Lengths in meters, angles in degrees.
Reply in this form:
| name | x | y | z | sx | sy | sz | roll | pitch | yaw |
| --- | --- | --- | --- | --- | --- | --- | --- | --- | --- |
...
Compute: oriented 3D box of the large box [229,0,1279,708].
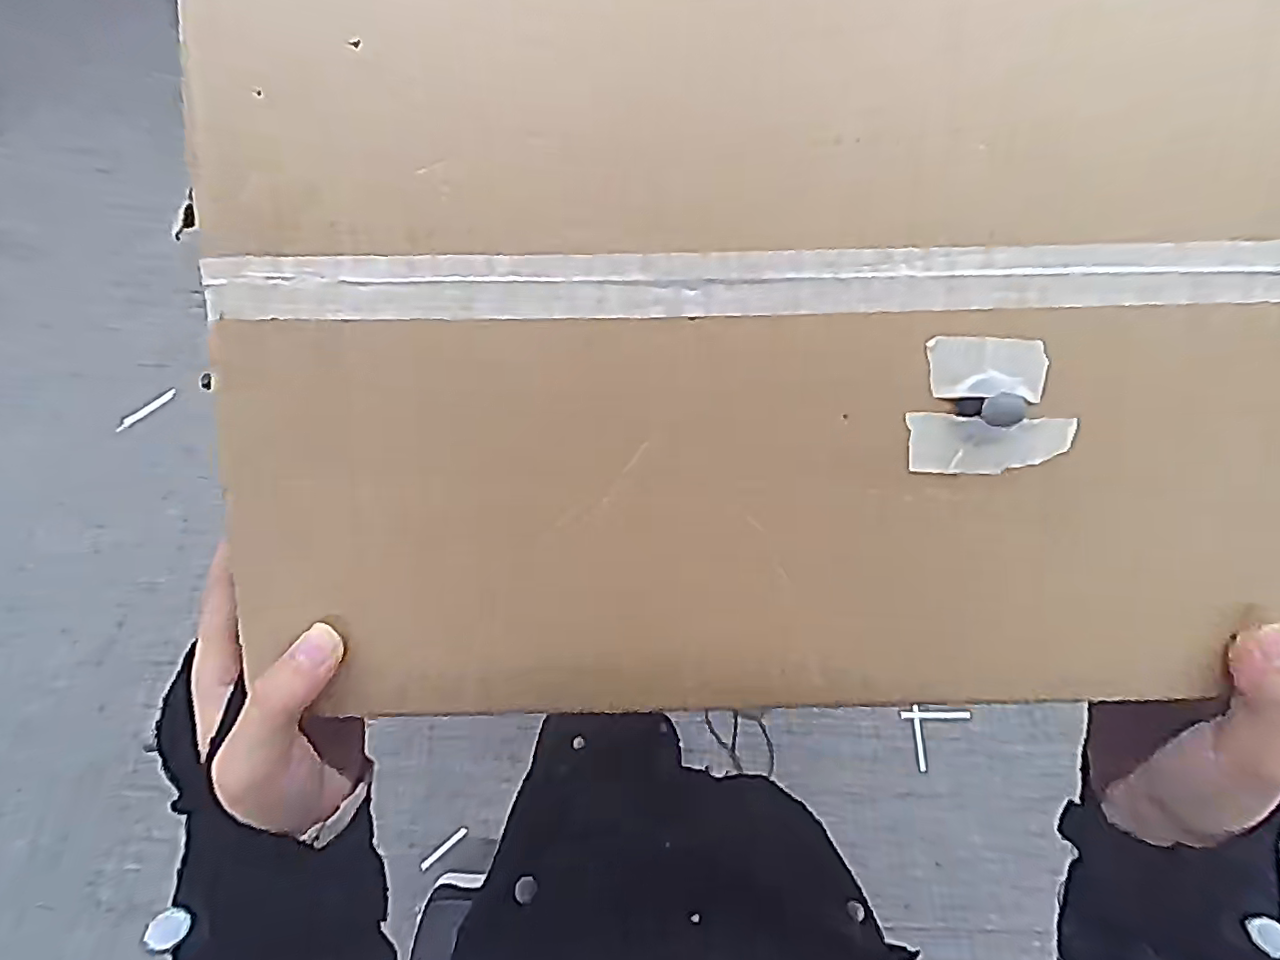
| name | x | y | z | sx | sy | sz | roll | pitch | yaw |
| --- | --- | --- | --- | --- | --- | --- | --- | --- | --- |
| large box | 0.050 | -0.082 | 0.351 | 0.408 | 0.320 | 0.320 | -1 | 96 | -2 |
